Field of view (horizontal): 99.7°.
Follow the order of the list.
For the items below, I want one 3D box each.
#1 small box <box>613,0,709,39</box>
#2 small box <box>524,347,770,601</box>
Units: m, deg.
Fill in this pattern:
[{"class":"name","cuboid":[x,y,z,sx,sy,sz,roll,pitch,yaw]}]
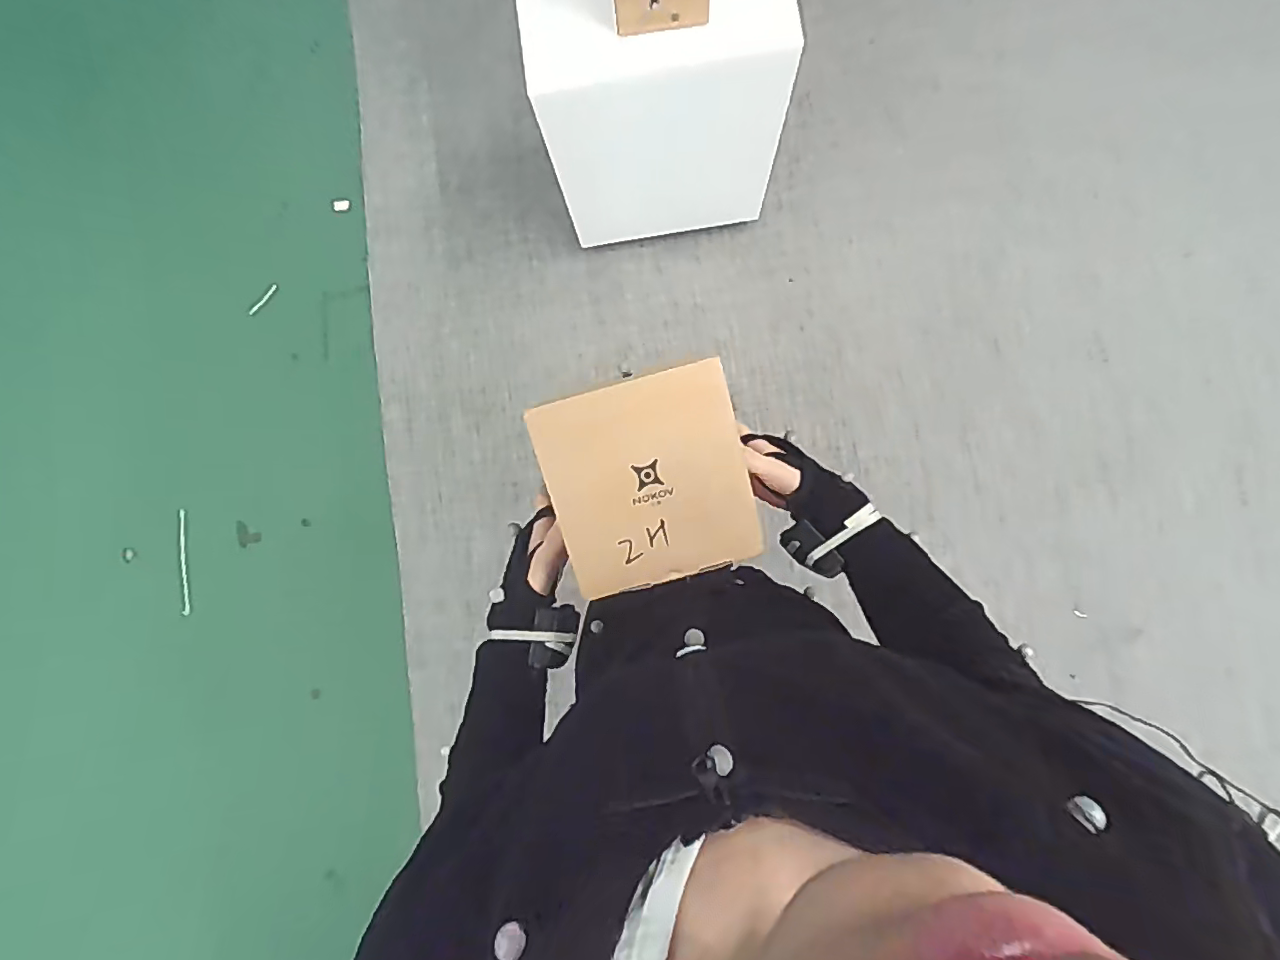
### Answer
[{"class":"small box","cuboid":[0.028,-0.899,0.907,0.168,0.176,0.179,-6,84,4]},{"class":"small box","cuboid":[0.005,-0.015,0.511,0.168,0.176,0.179,-16,102,2]}]
